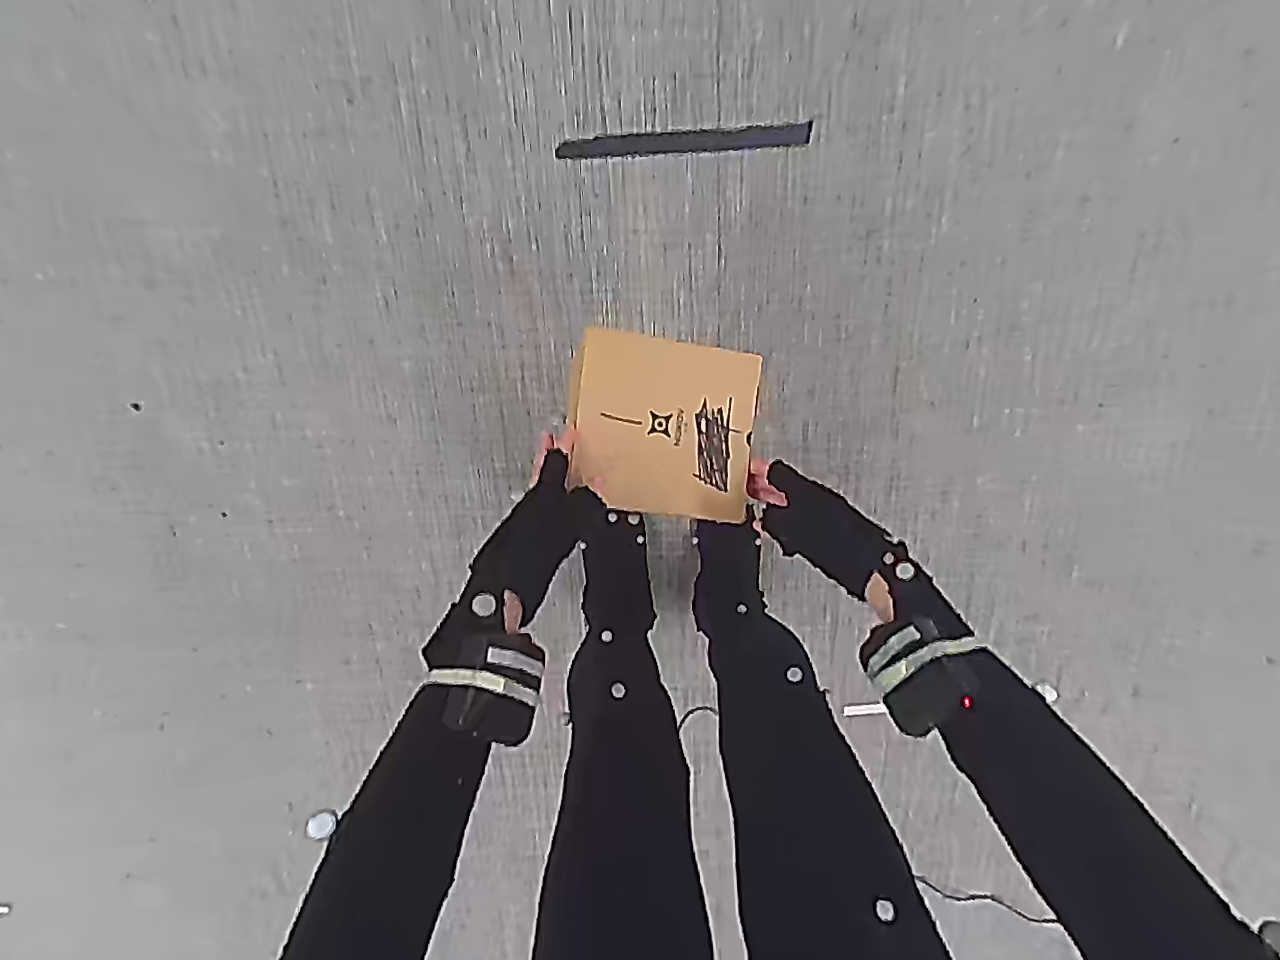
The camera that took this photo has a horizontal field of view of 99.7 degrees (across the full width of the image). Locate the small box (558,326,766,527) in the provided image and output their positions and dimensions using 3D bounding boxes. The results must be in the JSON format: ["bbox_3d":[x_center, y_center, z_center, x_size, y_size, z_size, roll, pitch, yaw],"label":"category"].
[{"bbox_3d":[0.012,-0.046,0.573,0.179,0.176,0.168,7,88,-10],"label":"small box"}]
